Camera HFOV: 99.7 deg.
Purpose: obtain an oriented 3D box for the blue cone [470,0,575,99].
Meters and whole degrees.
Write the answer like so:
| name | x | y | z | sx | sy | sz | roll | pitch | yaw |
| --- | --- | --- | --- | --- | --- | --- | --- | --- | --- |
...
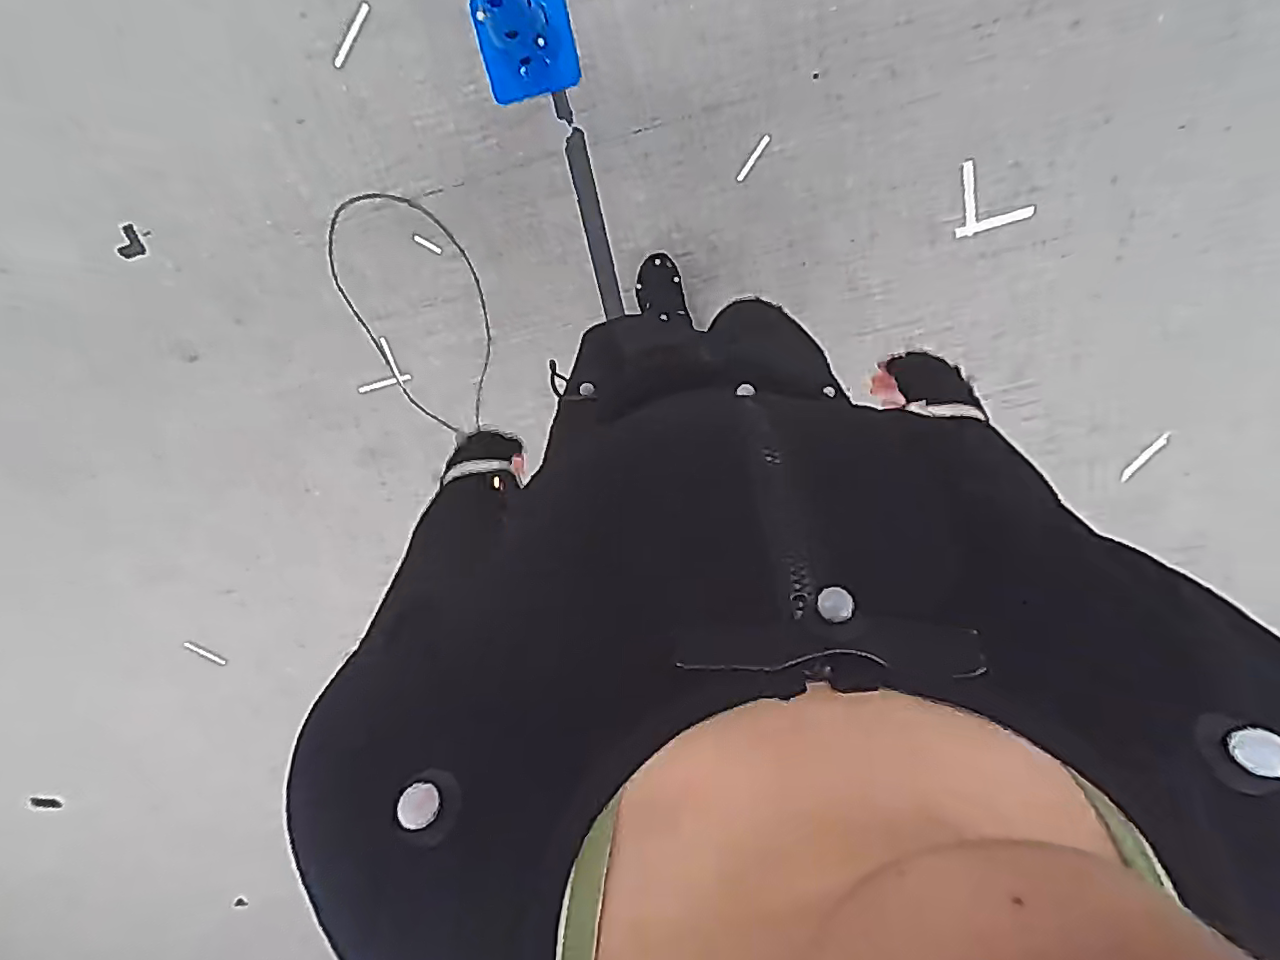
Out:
| name | x | y | z | sx | sy | sz | roll | pitch | yaw |
| --- | --- | --- | --- | --- | --- | --- | --- | --- | --- |
| blue cone | -0.247 | -0.854 | 0.976 | 0.193 | 0.380 | 0.192 | -13 | 112 | 7 |
